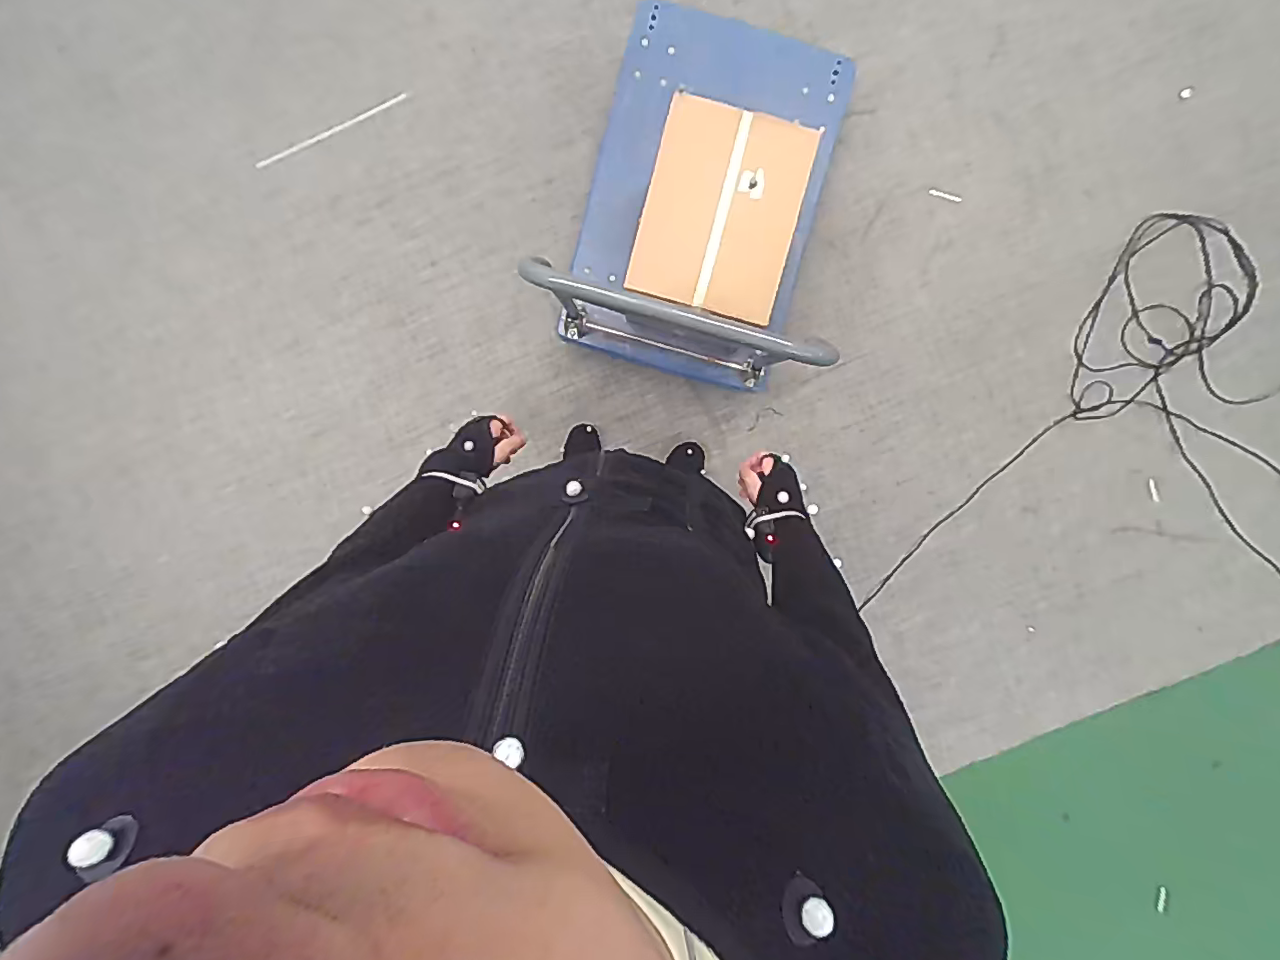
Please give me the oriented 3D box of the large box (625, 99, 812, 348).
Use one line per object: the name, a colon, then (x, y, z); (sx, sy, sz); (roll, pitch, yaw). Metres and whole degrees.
large box: (0.162, -0.565, 1.276); (0.320, 0.320, 0.408); (15, 94, -2)
